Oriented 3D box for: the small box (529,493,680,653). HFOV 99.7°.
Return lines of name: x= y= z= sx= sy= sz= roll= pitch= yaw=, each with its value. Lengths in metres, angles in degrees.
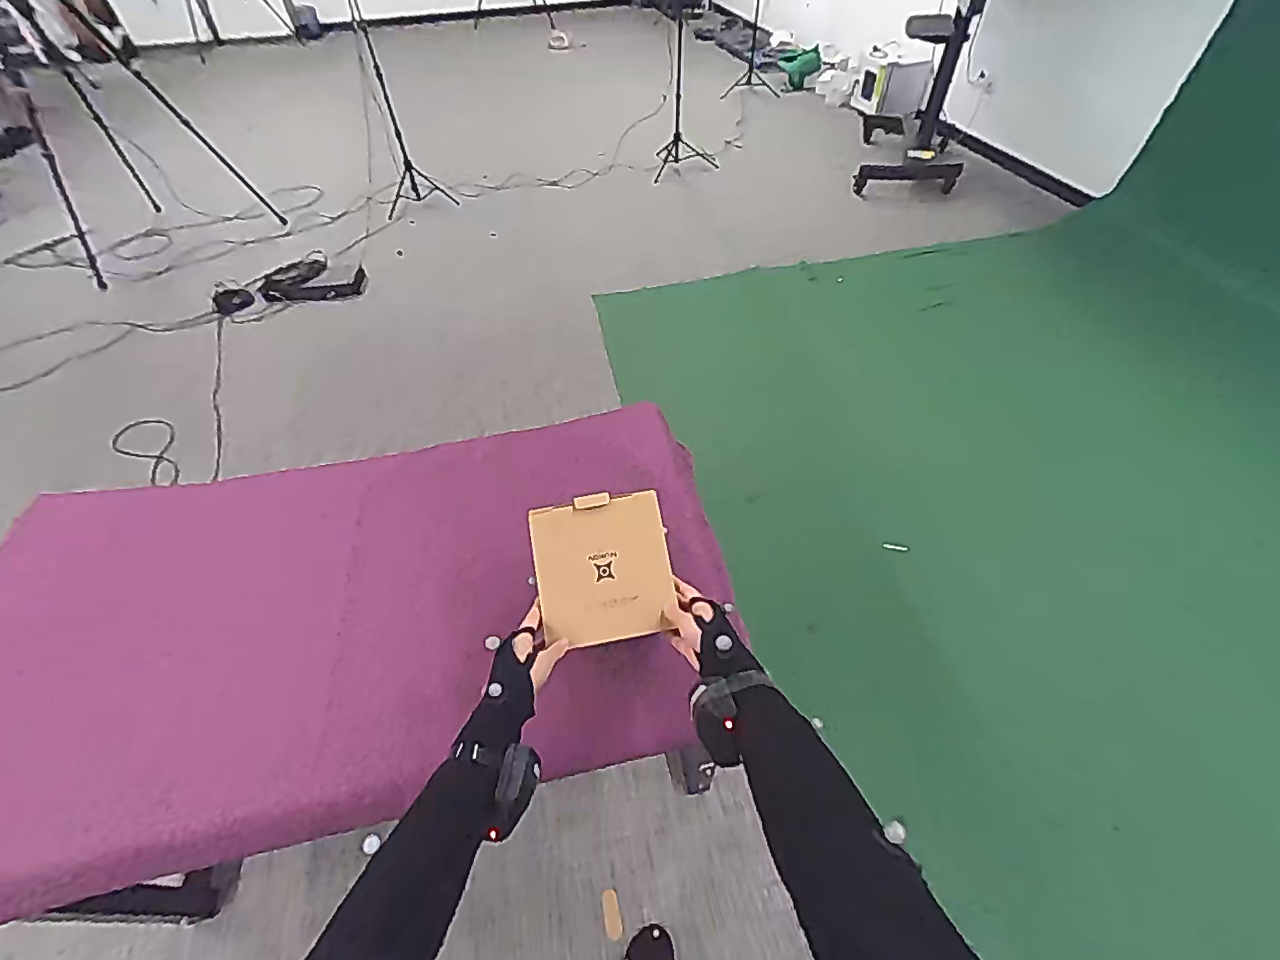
small box: x=-0.051 y=0.132 z=0.733 sx=0.168 sy=0.176 sz=0.179 roll=-9 pitch=74 yaw=-6
